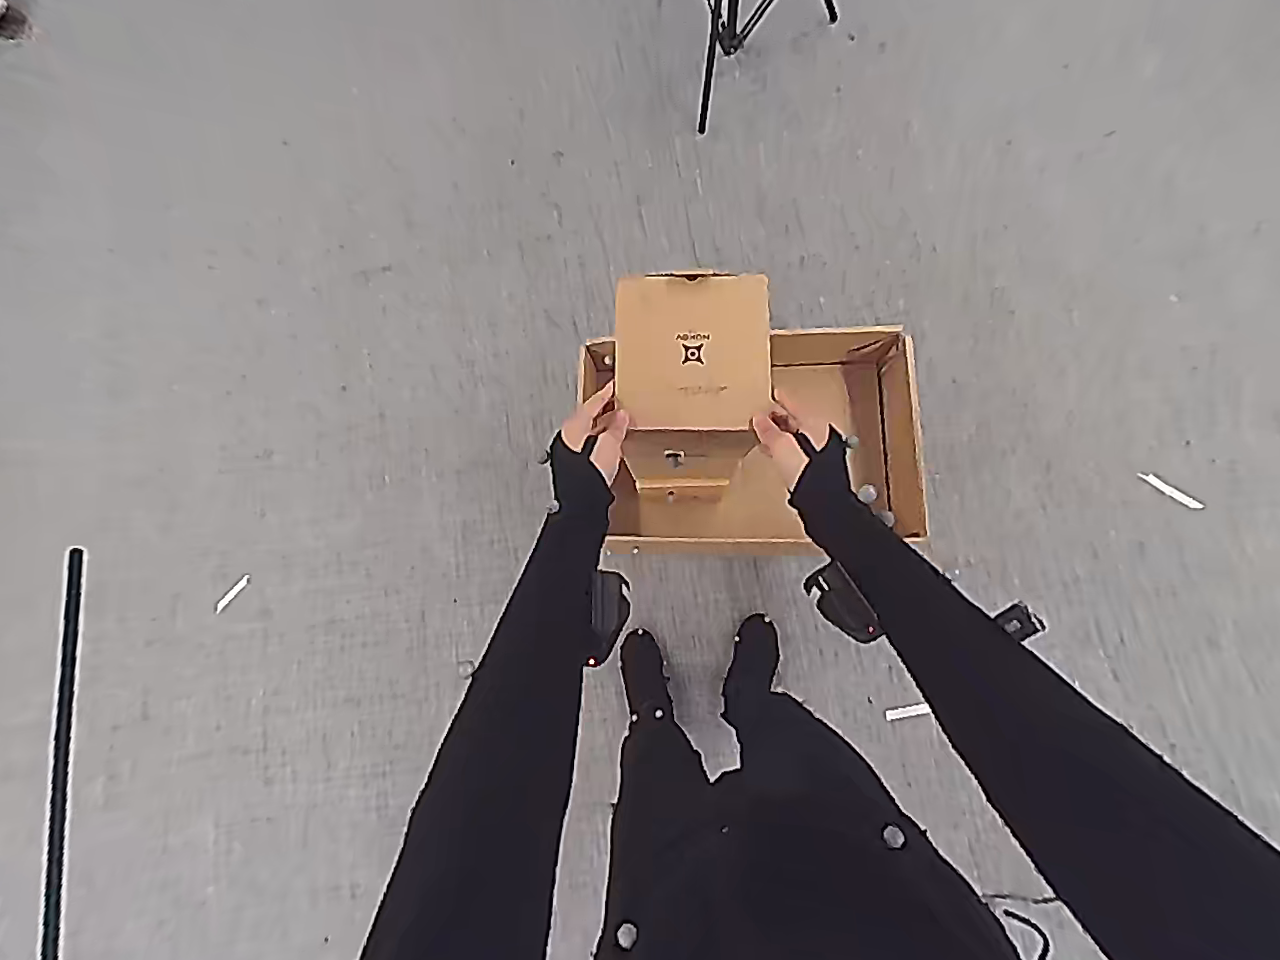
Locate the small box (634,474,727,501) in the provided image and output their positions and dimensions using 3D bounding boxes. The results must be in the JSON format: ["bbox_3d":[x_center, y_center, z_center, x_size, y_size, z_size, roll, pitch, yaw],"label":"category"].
[{"bbox_3d":[0.078,-0.056,1.030,0.168,0.176,0.179,-2,78,5],"label":"small box"}]

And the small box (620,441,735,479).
[{"bbox_3d":[0.066,-0.098,0.871,0.179,0.176,0.168,0,78,5],"label":"small box"}]

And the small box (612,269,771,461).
[{"bbox_3d":[0.055,-0.126,0.643,0.168,0.176,0.179,0,81,2],"label":"small box"}]
